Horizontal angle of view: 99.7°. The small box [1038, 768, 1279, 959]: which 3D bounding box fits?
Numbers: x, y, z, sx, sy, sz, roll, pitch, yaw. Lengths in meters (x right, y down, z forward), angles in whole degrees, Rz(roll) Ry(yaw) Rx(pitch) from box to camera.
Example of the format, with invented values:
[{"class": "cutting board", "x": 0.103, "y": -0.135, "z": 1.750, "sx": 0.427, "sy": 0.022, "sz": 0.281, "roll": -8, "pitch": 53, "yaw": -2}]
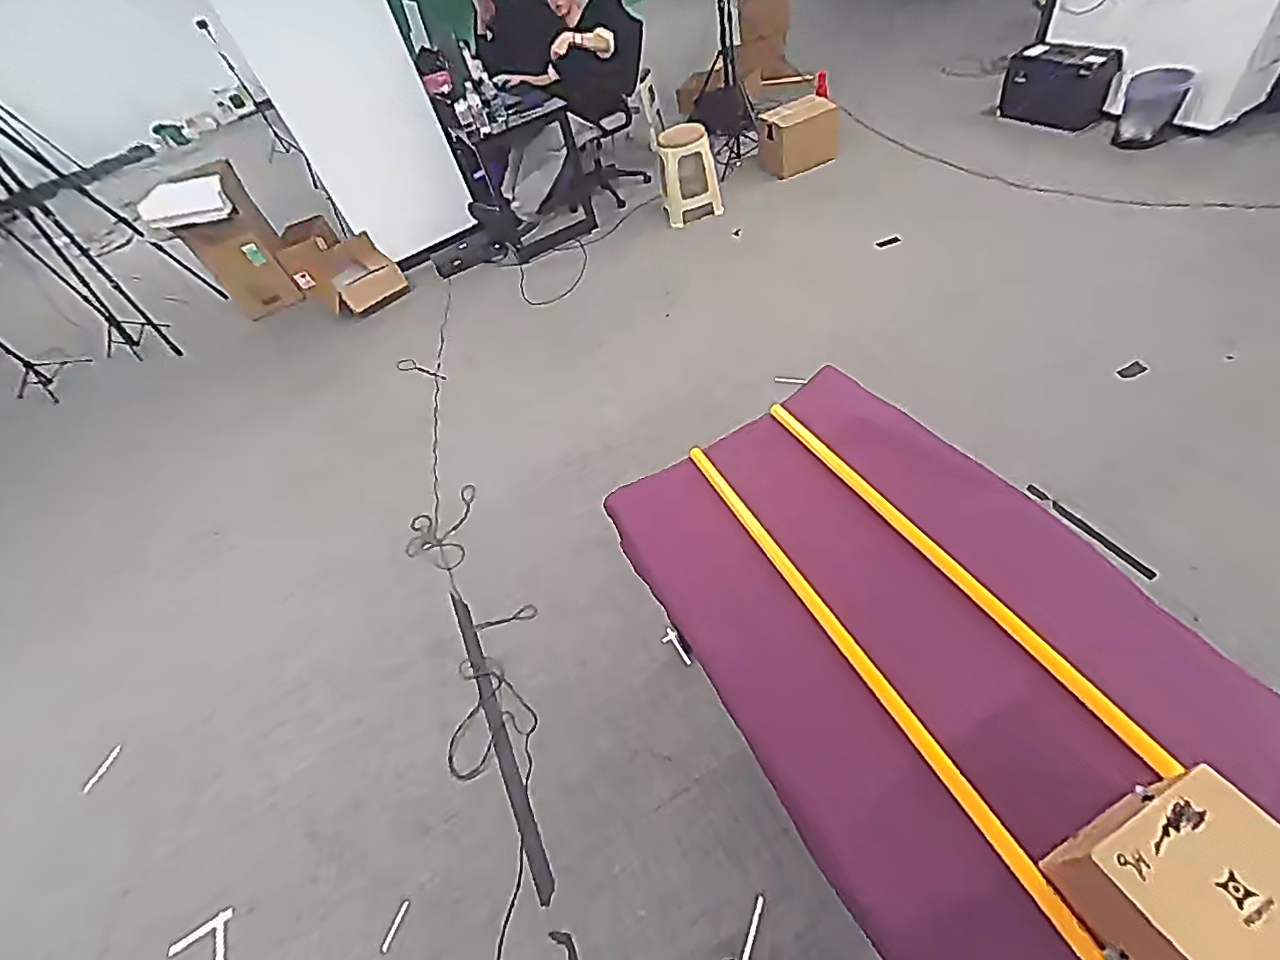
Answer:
[{"class": "small box", "x": 0.567, "y": 0.435, "z": 0.553, "sx": 0.168, "sy": 0.176, "sz": 0.179, "roll": -28, "pitch": 50, "yaw": -8}]
